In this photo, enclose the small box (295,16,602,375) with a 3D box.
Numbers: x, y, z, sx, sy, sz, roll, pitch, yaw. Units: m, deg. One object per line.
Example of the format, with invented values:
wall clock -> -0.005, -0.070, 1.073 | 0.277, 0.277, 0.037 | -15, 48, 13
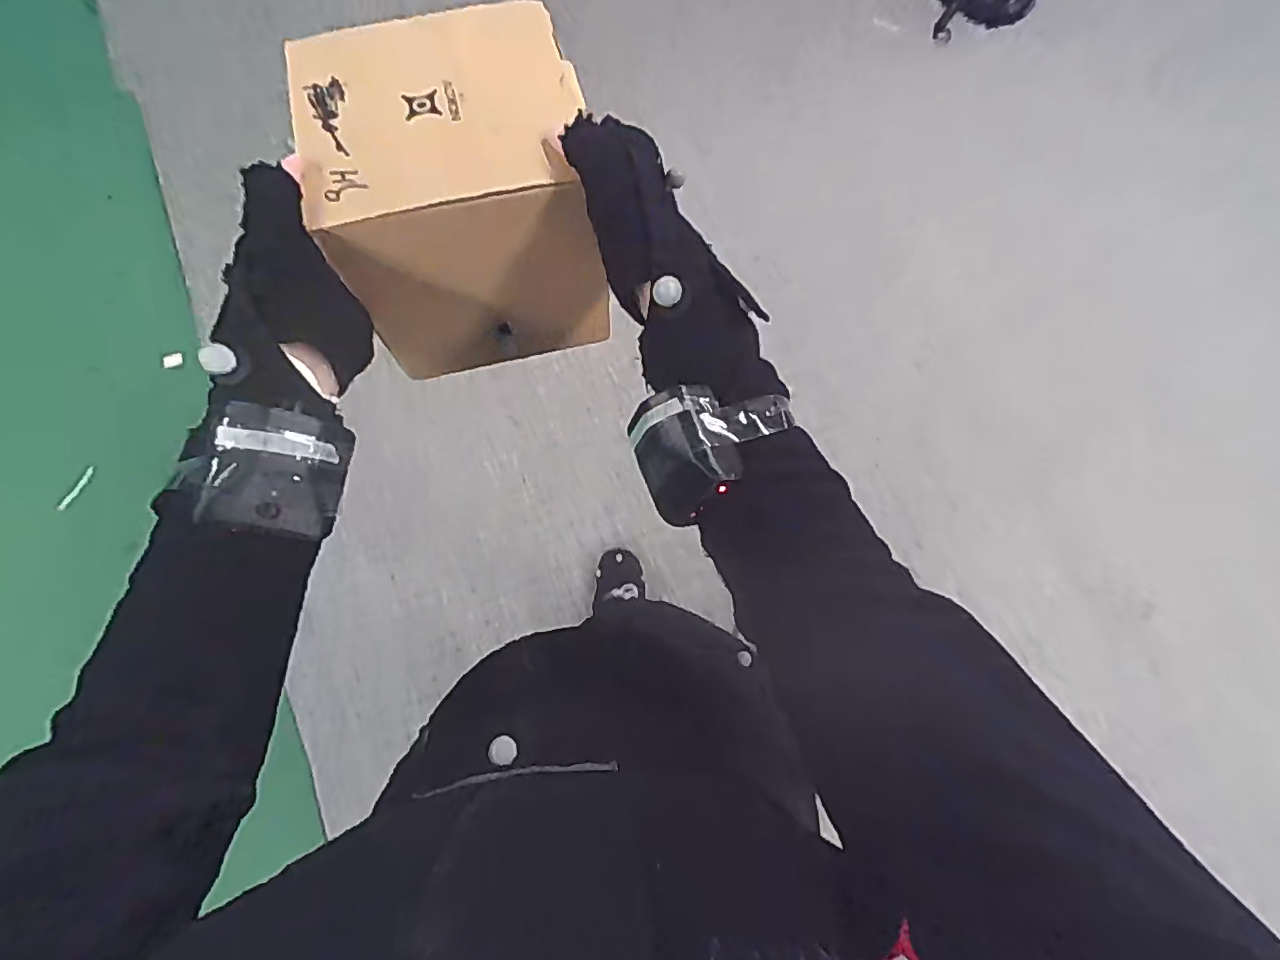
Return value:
small box -> -0.130, -0.206, 0.421 | 0.179, 0.176, 0.168 | -14, 70, -6
